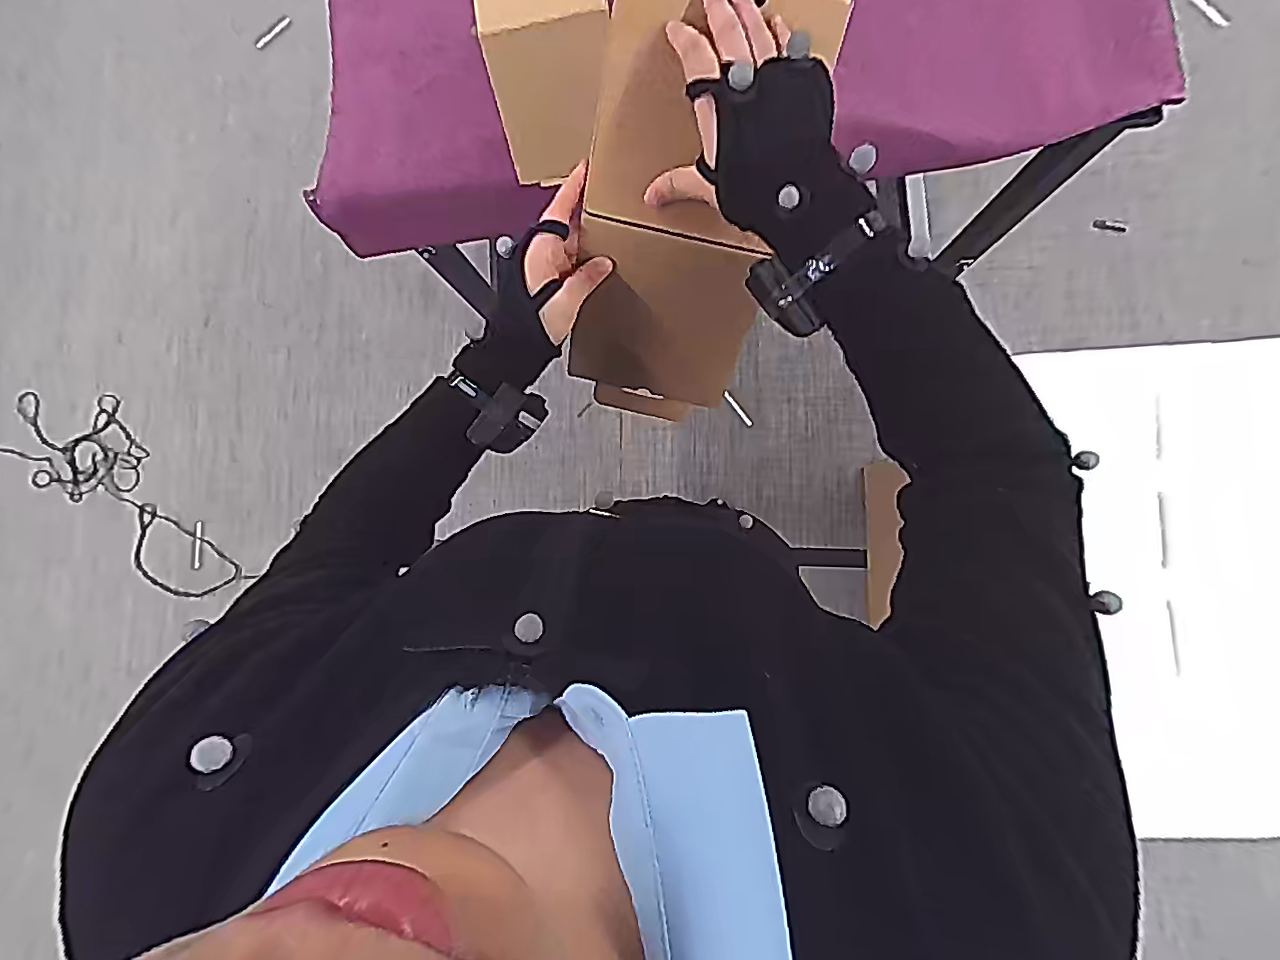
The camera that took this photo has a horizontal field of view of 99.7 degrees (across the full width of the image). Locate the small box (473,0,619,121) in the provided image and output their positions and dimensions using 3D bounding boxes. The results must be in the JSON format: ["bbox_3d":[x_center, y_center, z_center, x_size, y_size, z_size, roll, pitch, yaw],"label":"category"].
[{"bbox_3d":[-0.127,-0.638,0.754,0.168,0.176,0.179,-8,84,3],"label":"small box"}]
